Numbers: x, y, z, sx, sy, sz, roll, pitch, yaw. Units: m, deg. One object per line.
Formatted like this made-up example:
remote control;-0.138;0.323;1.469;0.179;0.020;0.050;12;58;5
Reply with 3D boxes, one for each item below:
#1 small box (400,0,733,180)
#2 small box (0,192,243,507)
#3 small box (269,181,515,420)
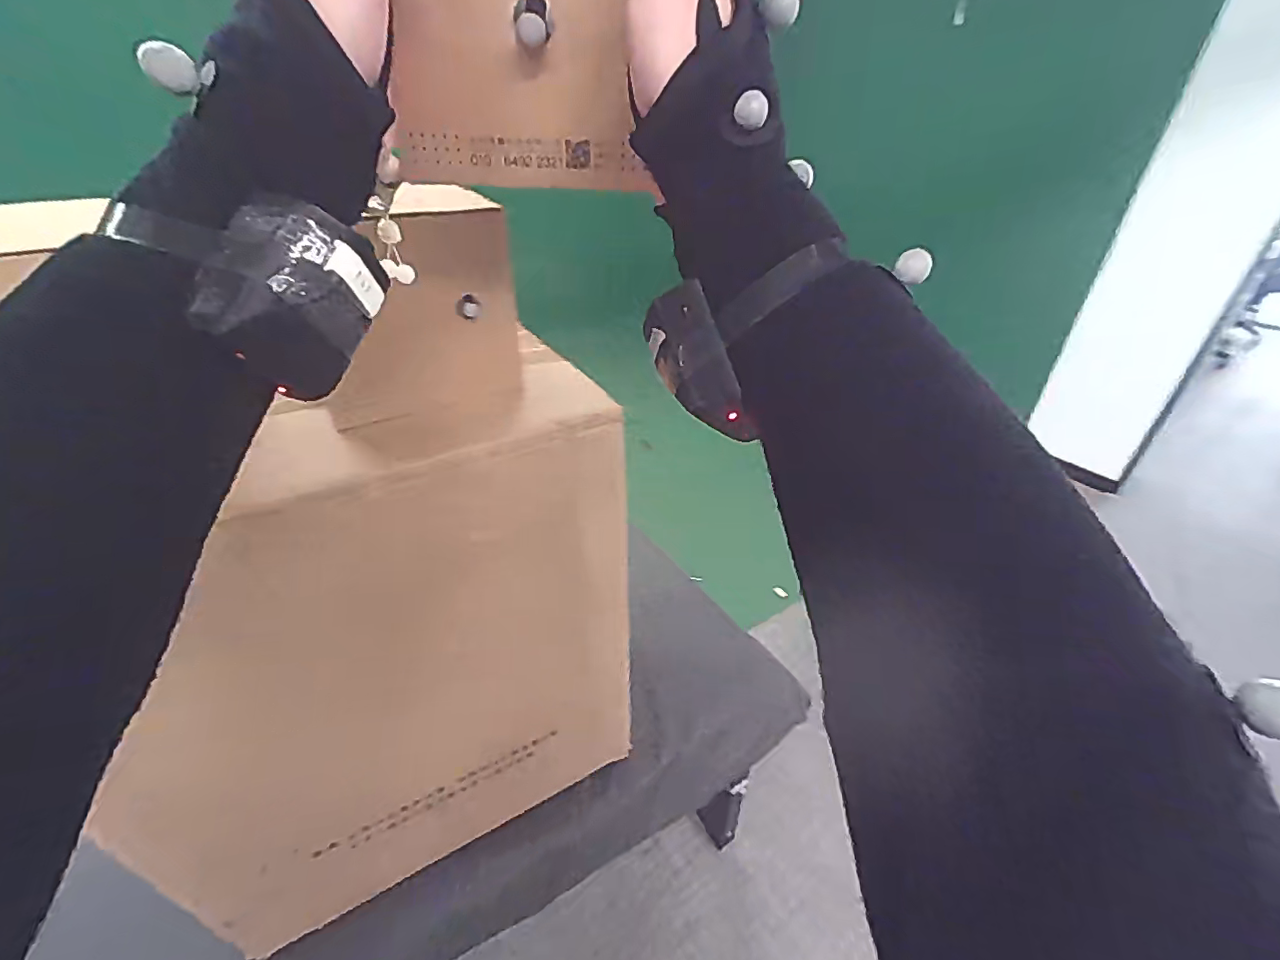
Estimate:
small box;-0.050;-0.306;0.345;0.179;0.176;0.168;-22;48;-23
small box;-0.438;-0.101;0.407;0.179;0.176;0.168;-20;44;-23
small box;-0.229;-0.179;0.524;0.179;0.176;0.168;-18;41;-25
